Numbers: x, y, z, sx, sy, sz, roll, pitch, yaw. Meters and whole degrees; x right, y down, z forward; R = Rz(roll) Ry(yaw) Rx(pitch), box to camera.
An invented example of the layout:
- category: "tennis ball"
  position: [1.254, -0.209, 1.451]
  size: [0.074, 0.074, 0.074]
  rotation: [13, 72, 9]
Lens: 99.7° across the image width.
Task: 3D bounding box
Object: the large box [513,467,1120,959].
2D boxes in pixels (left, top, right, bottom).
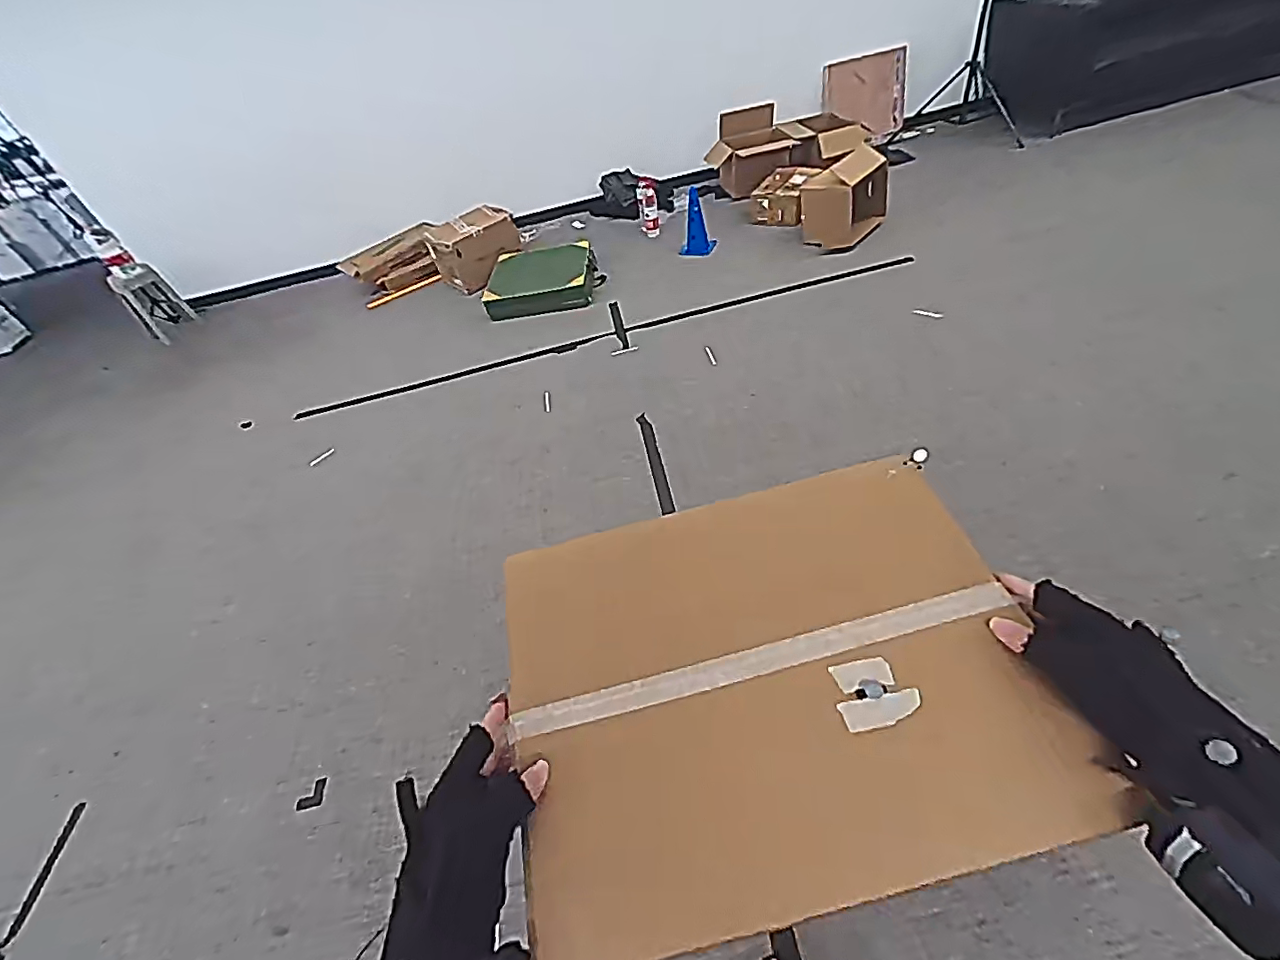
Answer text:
- category: "large box"
  position: [0.117, 0.242, 0.560]
  size: [0.408, 0.320, 0.320]
  rotation: [-15, 52, -1]
